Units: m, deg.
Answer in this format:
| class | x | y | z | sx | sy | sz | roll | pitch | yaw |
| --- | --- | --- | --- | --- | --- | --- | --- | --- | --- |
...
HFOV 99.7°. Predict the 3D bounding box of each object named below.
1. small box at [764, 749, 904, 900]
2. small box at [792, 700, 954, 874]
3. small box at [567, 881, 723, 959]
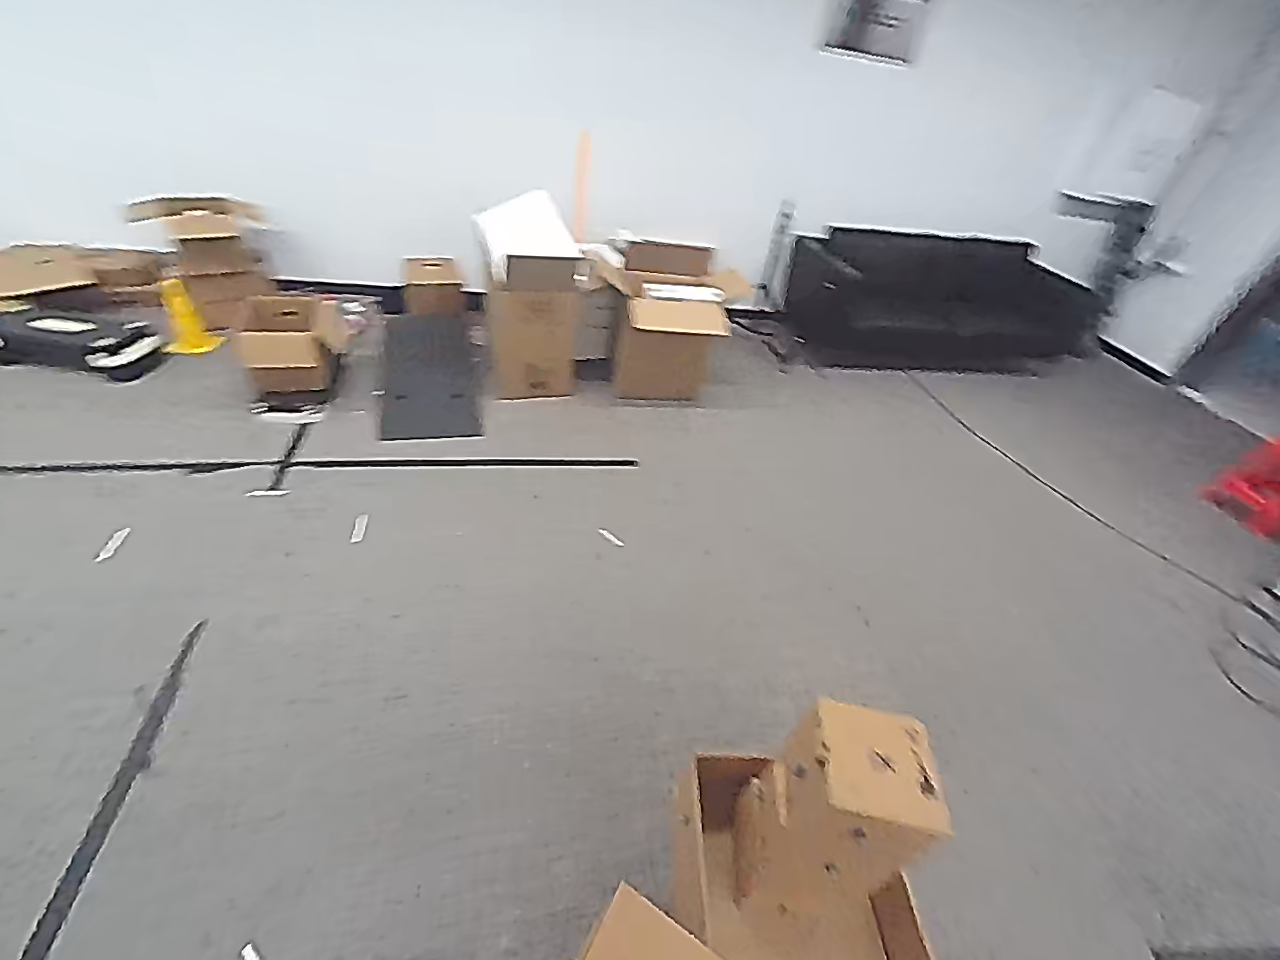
| class | x | y | z | sx | sy | sz | roll | pitch | yaw |
| --- | --- | --- | --- | --- | --- | --- | --- | --- | --- |
| small box | 0.323 | 0.605 | 0.947 | 0.179 | 0.176 | 0.168 | 12 | 39 | -1 |
| small box | 0.343 | 0.479 | 0.843 | 0.179 | 0.176 | 0.168 | 13 | 38 | 3 |
| small box | -0.014 | 0.621 | 0.617 | 0.179 | 0.176 | 0.168 | 29 | 33 | 14 |
